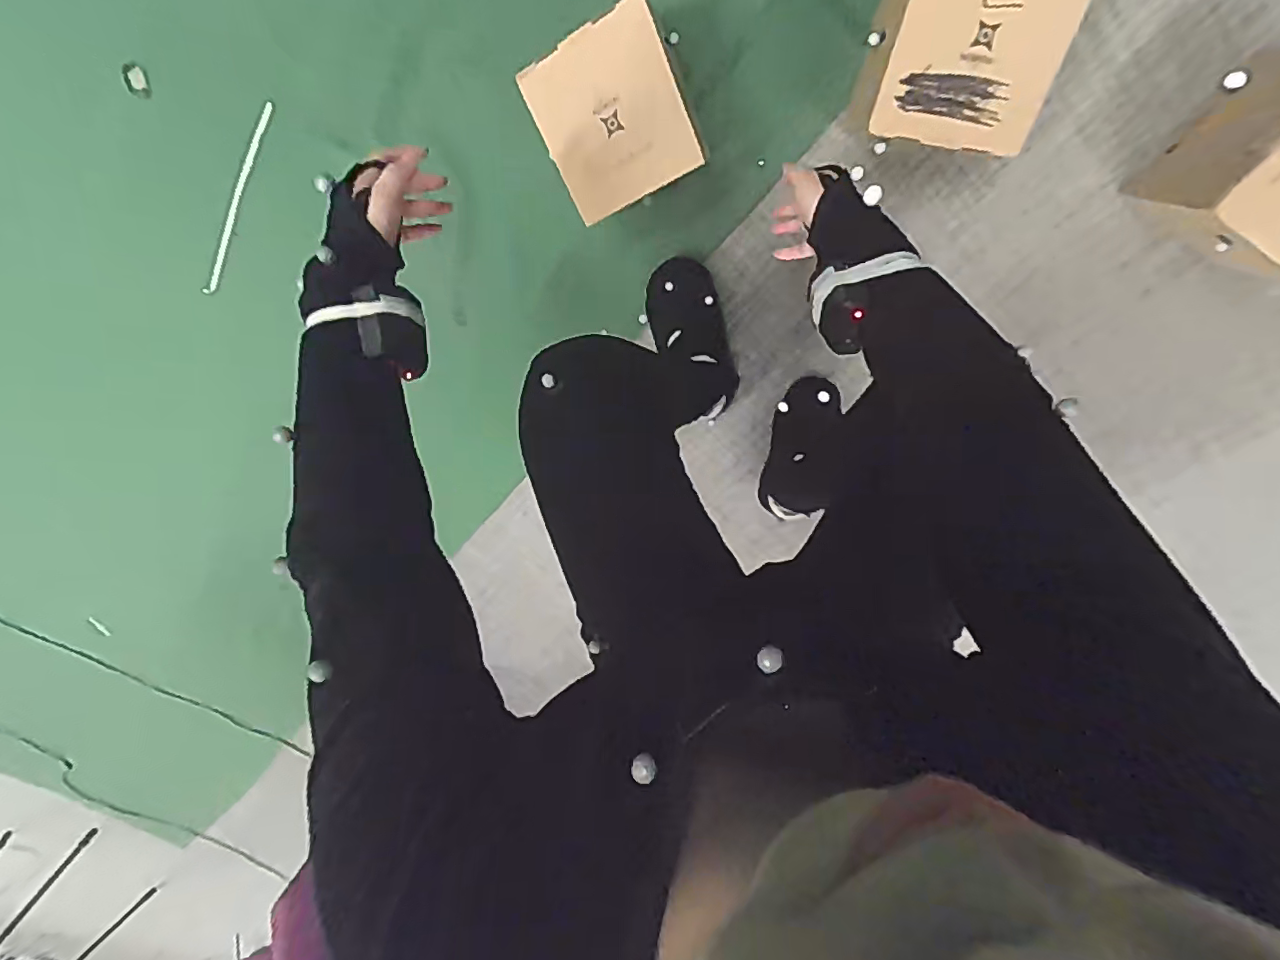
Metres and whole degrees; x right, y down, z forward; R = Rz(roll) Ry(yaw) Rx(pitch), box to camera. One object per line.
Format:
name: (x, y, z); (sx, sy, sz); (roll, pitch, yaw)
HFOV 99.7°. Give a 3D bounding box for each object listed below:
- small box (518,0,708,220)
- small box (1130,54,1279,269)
small box: (-0.021, -0.462, 0.688); (0.168, 0.176, 0.179); (-18, 118, 21)
small box: (0.736, -0.359, 0.618); (0.179, 0.176, 0.168); (27, 124, -9)
